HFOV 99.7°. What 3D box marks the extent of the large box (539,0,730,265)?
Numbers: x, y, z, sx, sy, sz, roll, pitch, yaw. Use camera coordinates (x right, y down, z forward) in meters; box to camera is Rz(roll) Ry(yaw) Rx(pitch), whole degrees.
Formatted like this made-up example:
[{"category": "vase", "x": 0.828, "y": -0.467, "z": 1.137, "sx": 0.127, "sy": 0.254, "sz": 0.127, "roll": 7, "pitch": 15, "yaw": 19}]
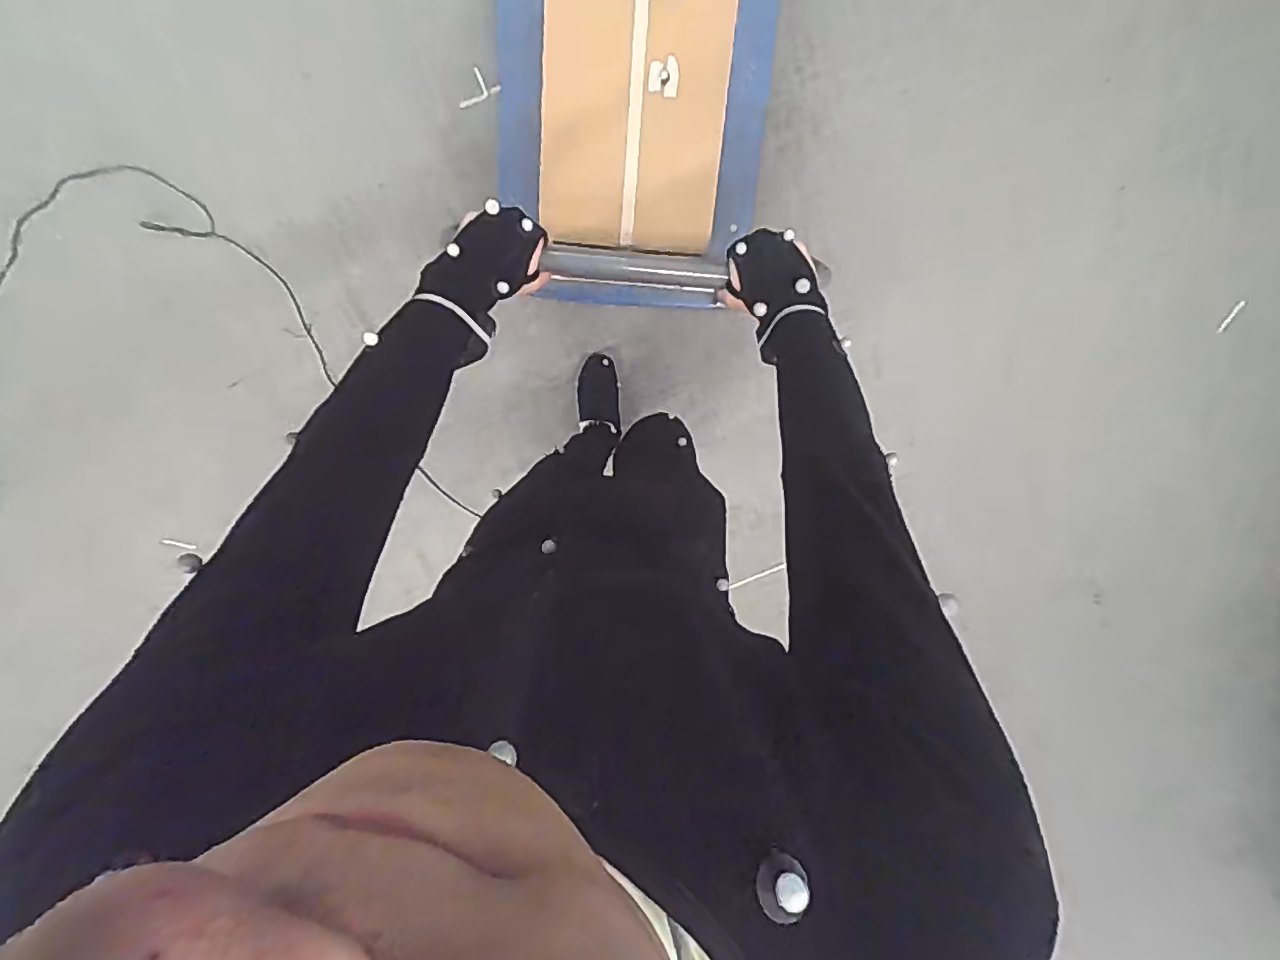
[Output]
[{"category": "large box", "x": -0.021, "y": -0.665, "z": 1.084, "sx": 0.320, "sy": 0.320, "sz": 0.408, "roll": 4, "pitch": 107, "yaw": -4}]
